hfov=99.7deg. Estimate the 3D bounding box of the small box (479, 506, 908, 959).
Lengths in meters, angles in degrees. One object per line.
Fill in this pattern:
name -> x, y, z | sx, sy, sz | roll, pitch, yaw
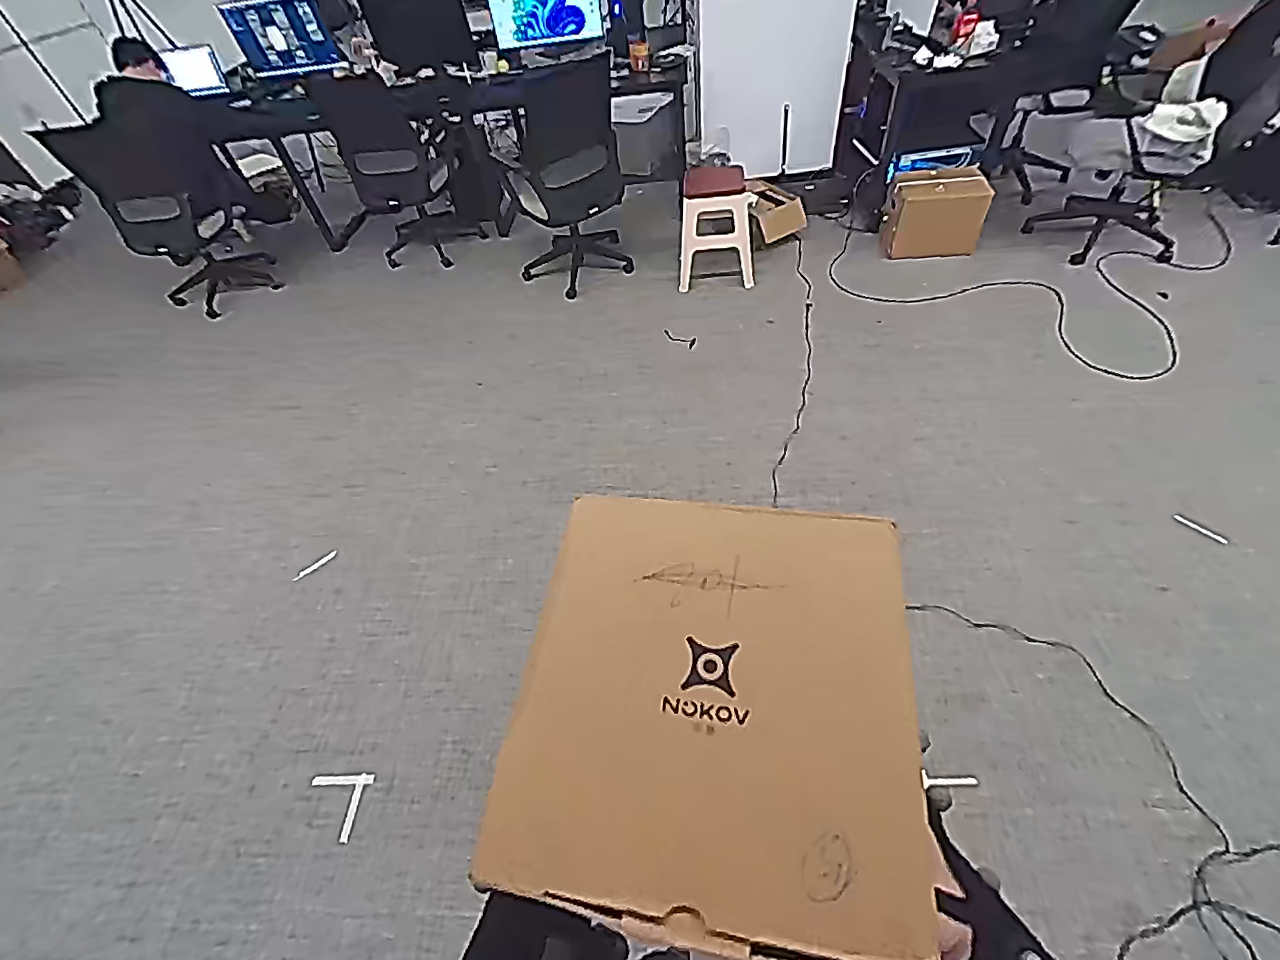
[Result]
small box -> 0.038, 0.137, 0.310 | 0.168, 0.176, 0.179 | 5, 55, 11
